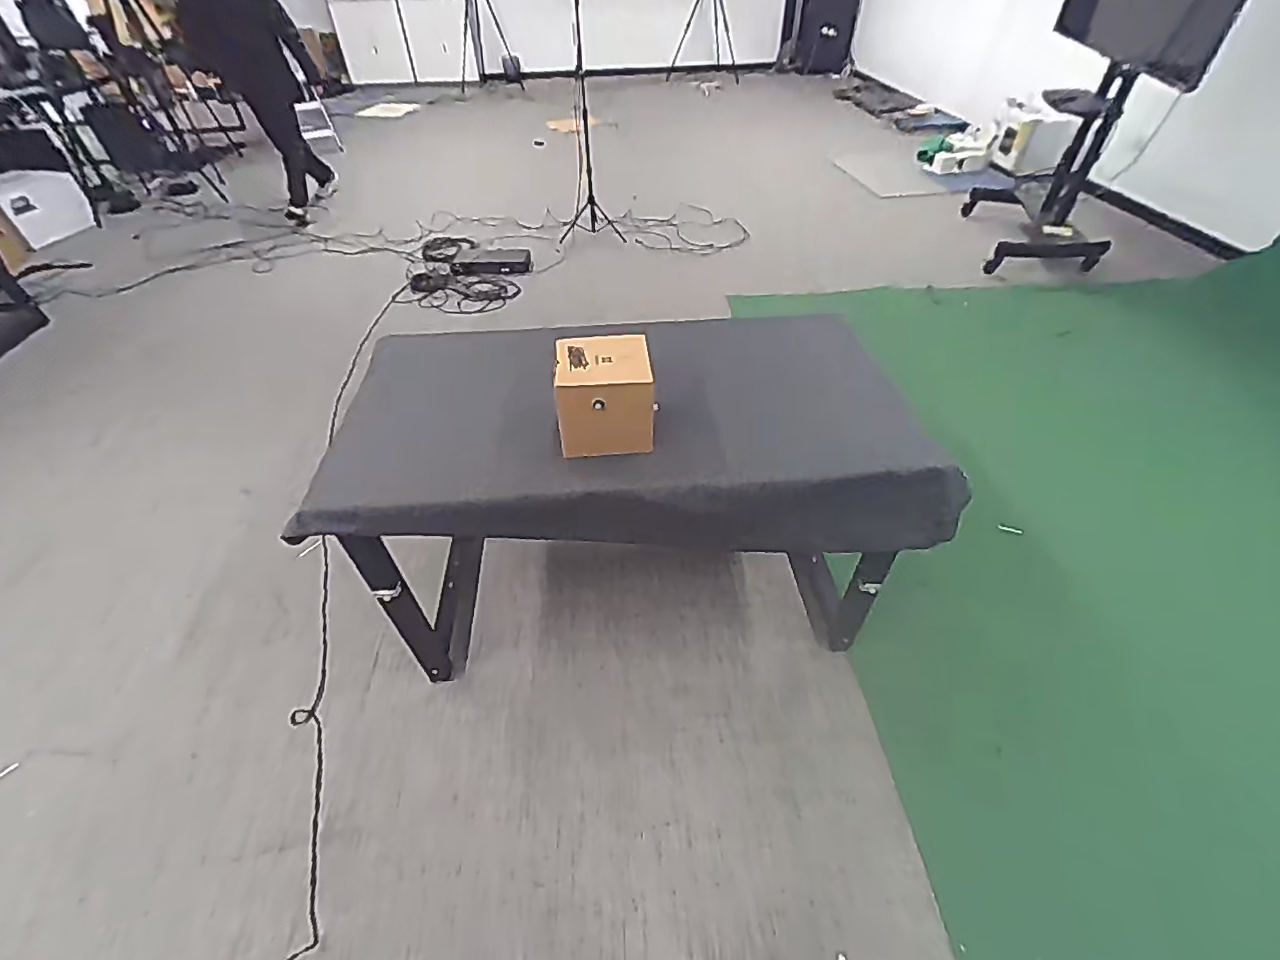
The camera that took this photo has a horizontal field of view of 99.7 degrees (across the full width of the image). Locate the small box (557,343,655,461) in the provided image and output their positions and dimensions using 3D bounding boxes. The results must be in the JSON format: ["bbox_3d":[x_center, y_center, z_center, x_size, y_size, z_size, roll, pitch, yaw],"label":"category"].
[{"bbox_3d":[-0.064,-0.151,1.065,0.179,0.176,0.168,-4,44,-3],"label":"small box"}]
